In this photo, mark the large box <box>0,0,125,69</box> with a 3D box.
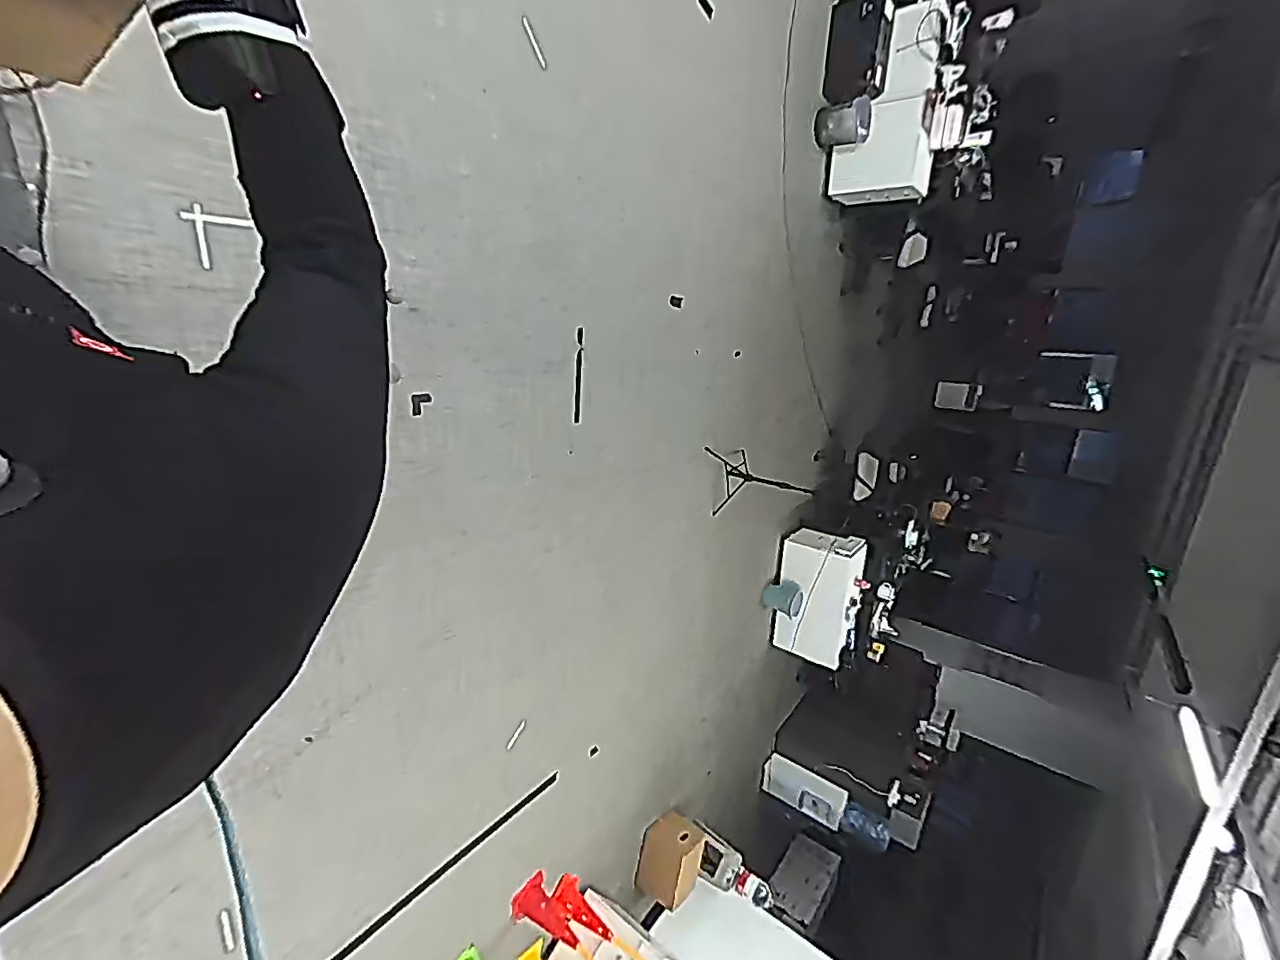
[{"bbox_3d":[-0.531,-0.457,0.230,0.408,0.320,0.320,-20,117,-50],"label":"large box"}]
